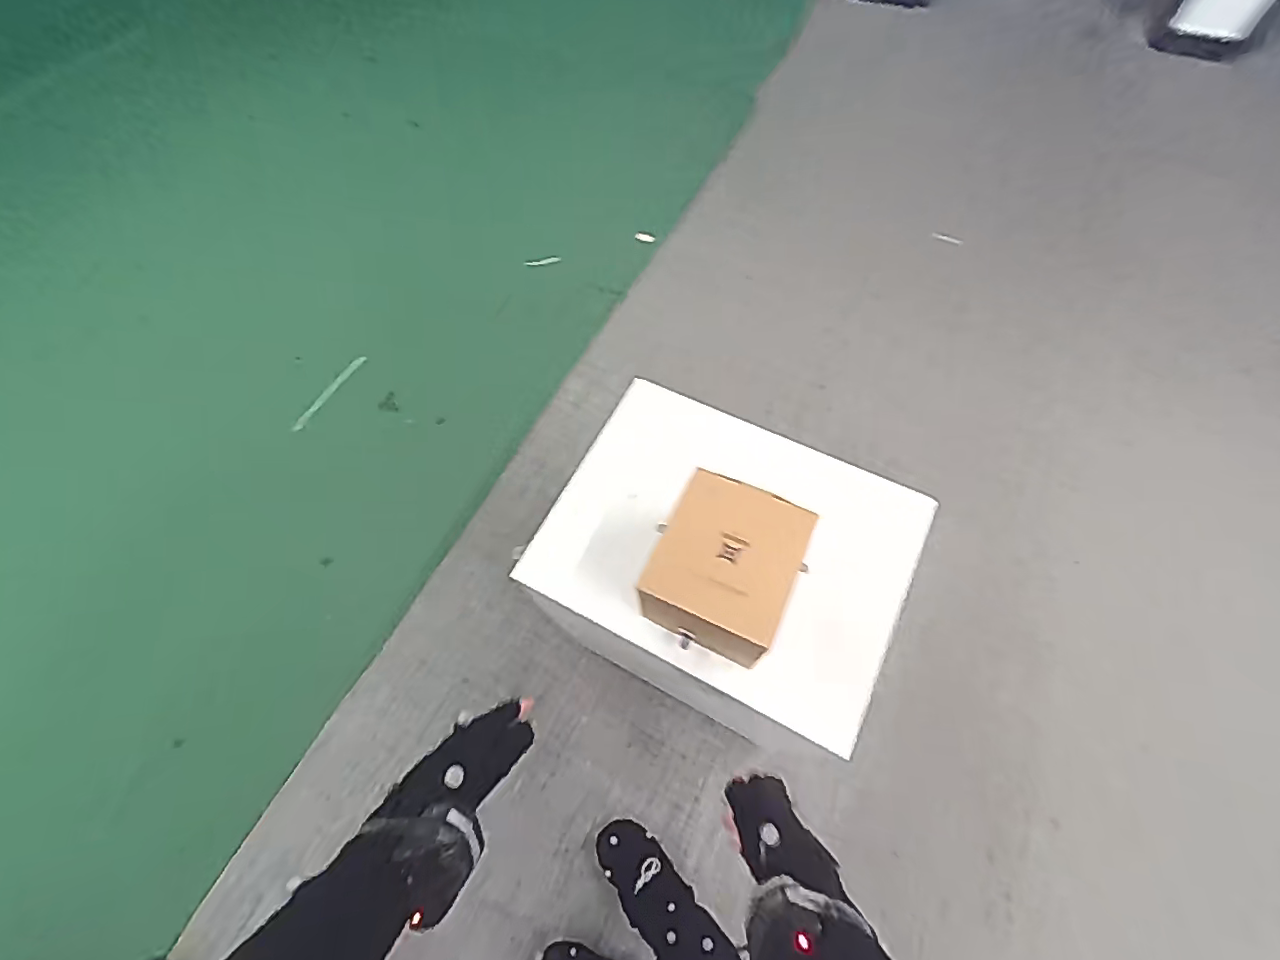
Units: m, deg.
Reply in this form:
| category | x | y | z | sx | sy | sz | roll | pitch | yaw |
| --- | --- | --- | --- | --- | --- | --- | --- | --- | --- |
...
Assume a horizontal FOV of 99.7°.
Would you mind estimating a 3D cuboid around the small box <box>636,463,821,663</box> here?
| category | x | y | z | sx | sy | sz | roll | pitch | yaw |
| --- | --- | --- | --- | --- | --- | --- | --- | --- | --- |
| small box | 0.109 | 0.113 | 0.693 | 0.168 | 0.176 | 0.179 | 22 | 69 | 15 |
